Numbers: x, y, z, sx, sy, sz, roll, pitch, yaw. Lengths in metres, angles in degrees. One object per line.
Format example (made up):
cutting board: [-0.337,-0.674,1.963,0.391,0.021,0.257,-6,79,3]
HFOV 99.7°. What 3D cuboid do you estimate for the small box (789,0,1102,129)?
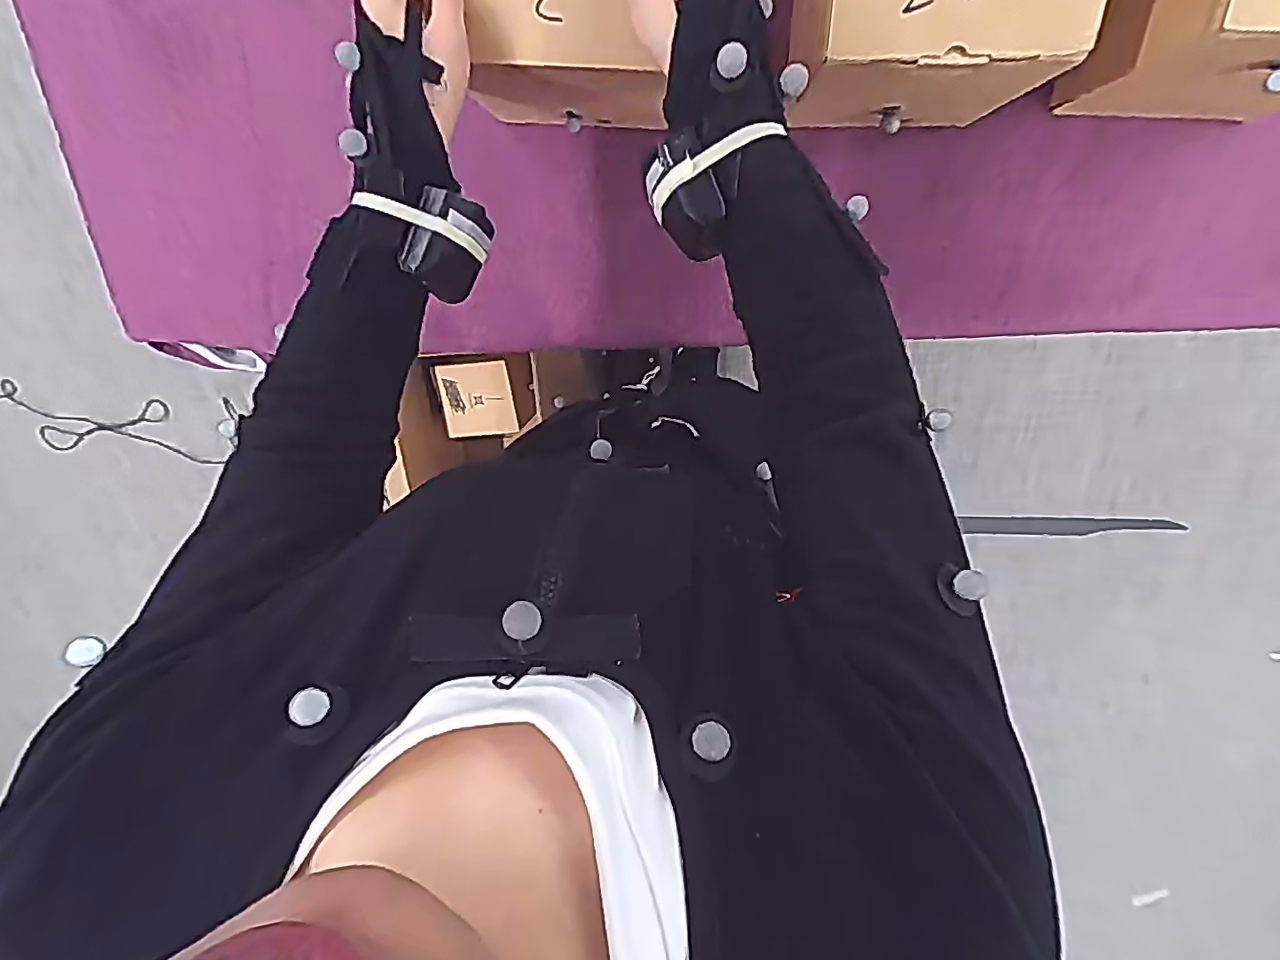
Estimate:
small box: [0.210,-0.379,0.392,0.168,0.176,0.179,3,111,5]

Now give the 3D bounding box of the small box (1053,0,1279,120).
small box: [0.451,-0.371,0.377,0.179,0.176,0.168,5,110,3]
